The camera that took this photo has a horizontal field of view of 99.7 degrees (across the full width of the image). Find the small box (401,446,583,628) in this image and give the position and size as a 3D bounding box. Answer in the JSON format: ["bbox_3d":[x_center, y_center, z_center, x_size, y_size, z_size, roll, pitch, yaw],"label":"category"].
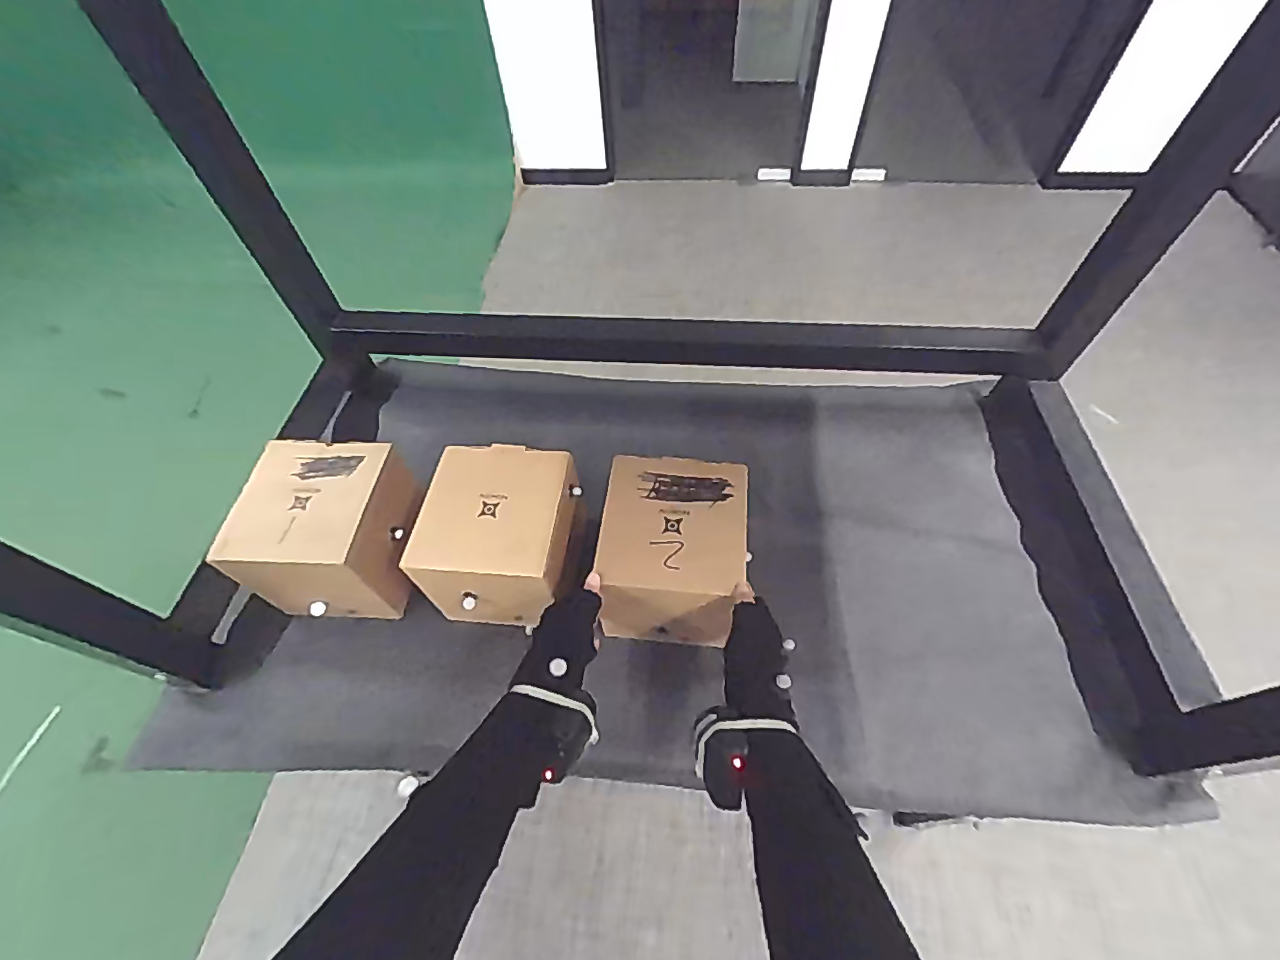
[{"bbox_3d":[-0.173,0.078,0.703,0.168,0.176,0.179,4,54,5],"label":"small box"}]

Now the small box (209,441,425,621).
[{"bbox_3d":[-0.399,0.069,0.718,0.168,0.176,0.179,1,54,4],"label":"small box"}]
